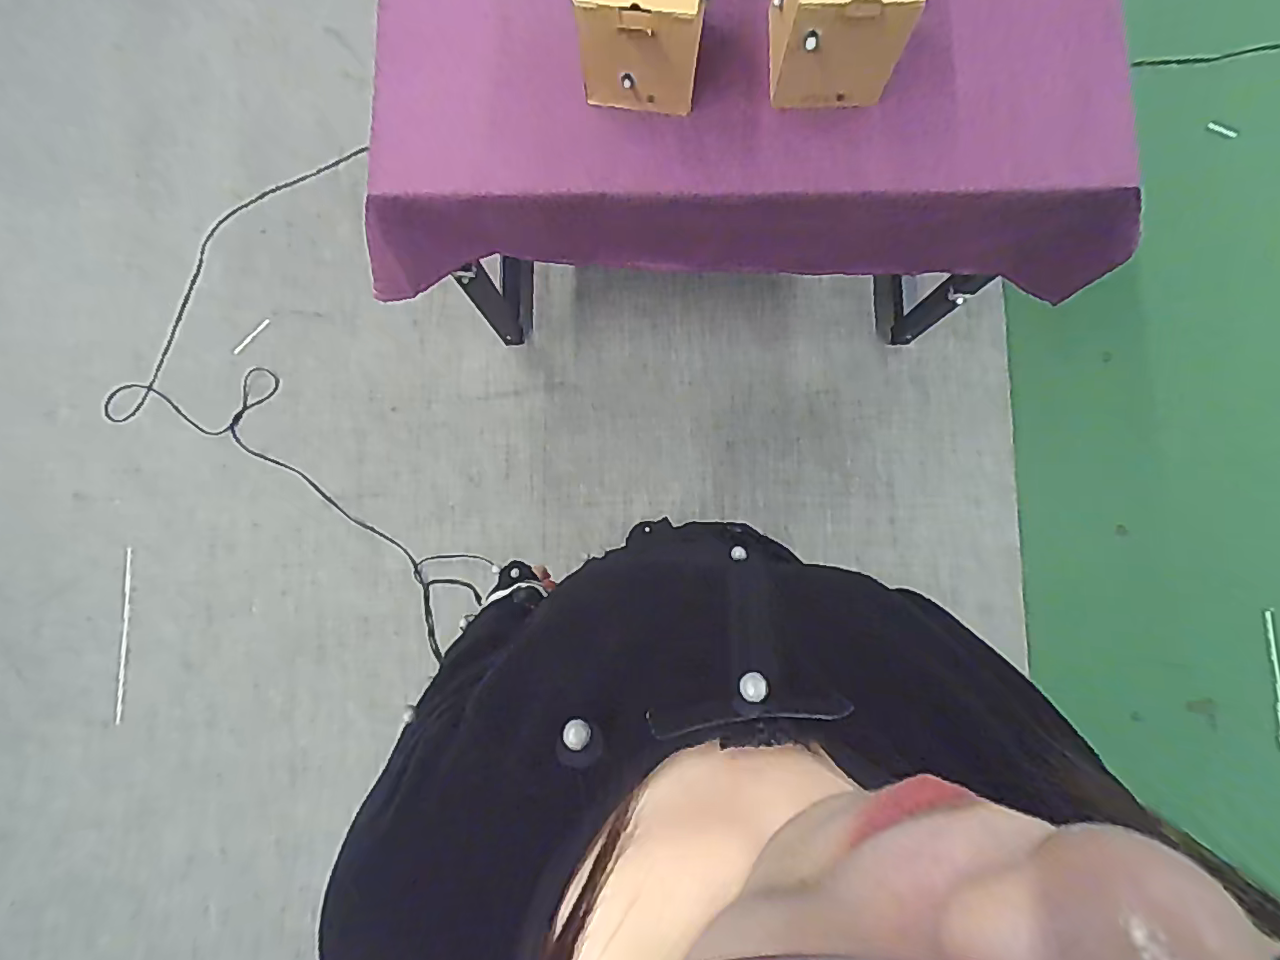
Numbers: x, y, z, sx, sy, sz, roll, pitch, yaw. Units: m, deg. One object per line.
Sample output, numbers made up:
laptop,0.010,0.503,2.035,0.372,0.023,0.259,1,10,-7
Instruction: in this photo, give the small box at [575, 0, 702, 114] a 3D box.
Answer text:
small box,0.005,-0.696,0.804,0.168,0.176,0.179,8,85,2
